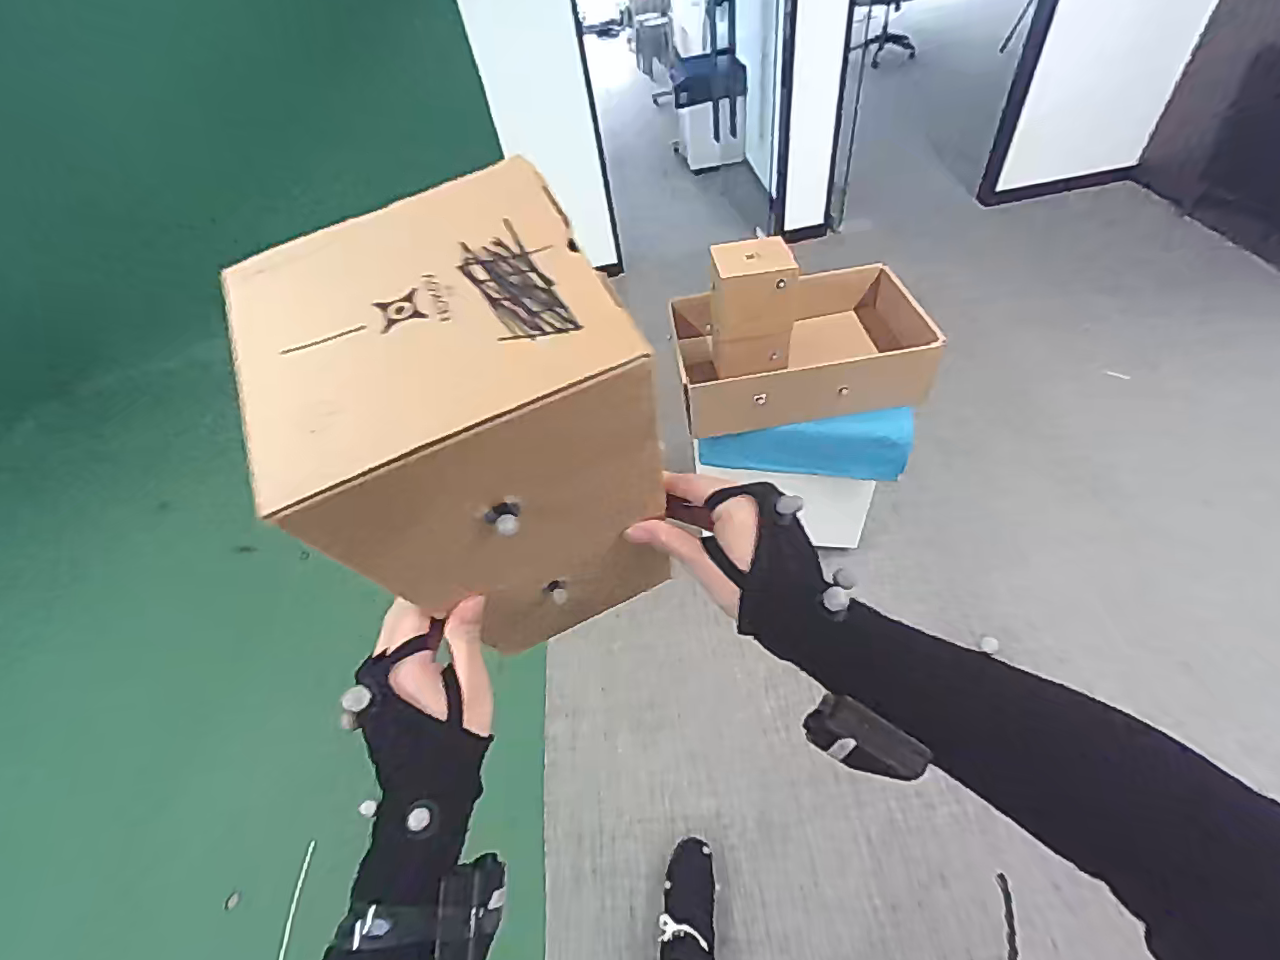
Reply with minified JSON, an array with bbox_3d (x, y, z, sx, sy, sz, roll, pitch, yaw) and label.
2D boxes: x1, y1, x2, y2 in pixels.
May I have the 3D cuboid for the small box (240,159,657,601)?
[{"bbox_3d":[-0.097,-0.049,0.335,0.179,0.176,0.168,-24,62,-6],"label":"small box"}]

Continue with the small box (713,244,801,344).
[{"bbox_3d":[0.276,-0.443,1.302,0.179,0.176,0.168,-7,46,2],"label":"small box"}]

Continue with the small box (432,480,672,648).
[{"bbox_3d":[-0.082,0.028,0.479,0.179,0.176,0.168,-23,62,-7],"label":"small box"}]
